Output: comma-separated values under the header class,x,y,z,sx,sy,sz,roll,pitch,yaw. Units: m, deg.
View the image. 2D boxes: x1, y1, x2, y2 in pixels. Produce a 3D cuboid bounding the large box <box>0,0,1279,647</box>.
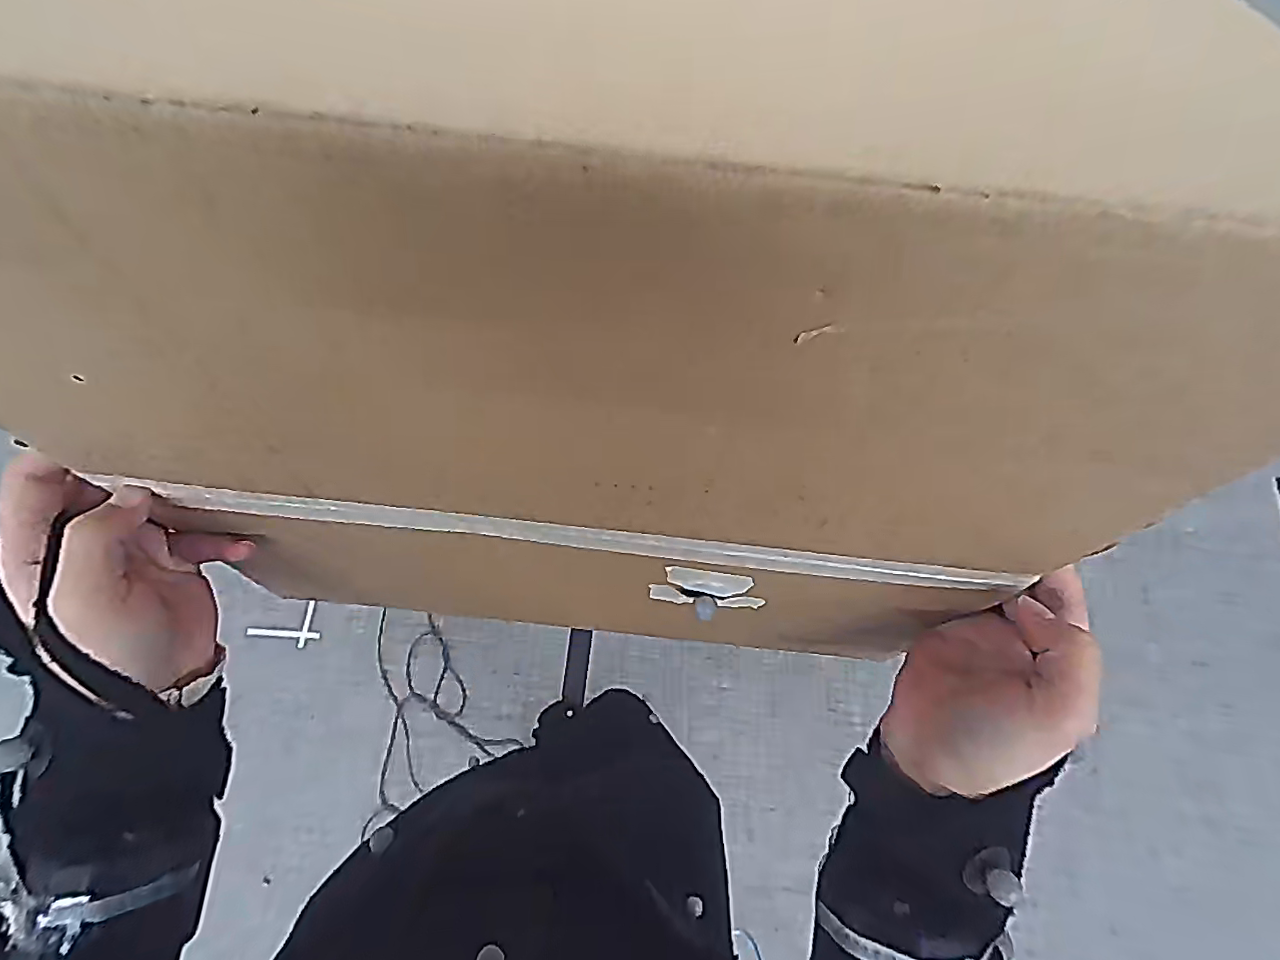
class,x,y,z,sx,sy,sz,roll,pitch,yaw
large box,-0.020,-0.110,0.317,0.408,0.320,0.320,5,60,0
